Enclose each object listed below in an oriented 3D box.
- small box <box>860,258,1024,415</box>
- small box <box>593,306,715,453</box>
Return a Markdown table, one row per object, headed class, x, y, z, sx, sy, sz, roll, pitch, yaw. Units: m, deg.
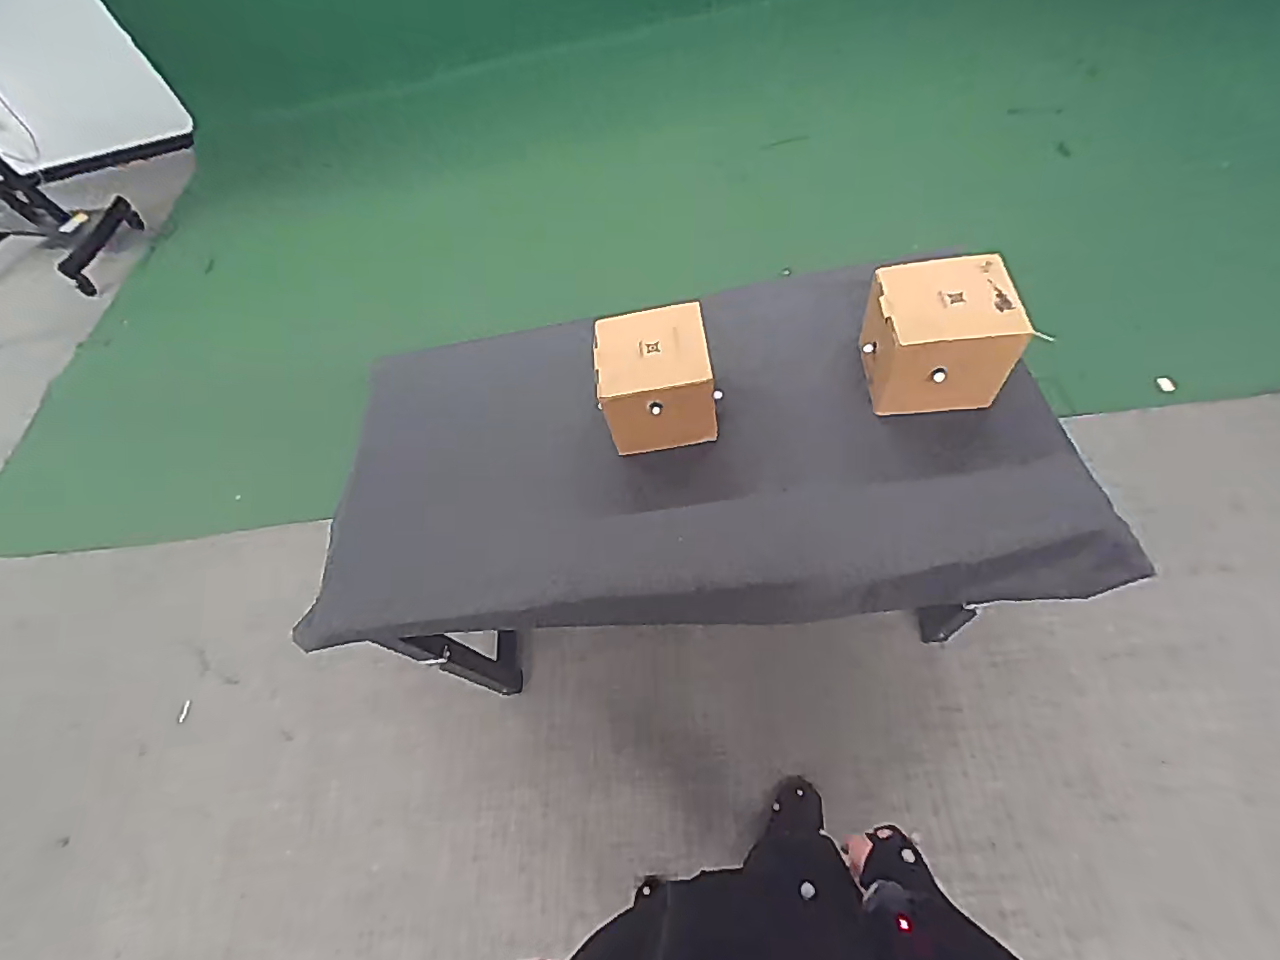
| class | x | y | z | sx | sy | sz | roll | pitch | yaw |
| --- | --- | --- | --- | --- | --- | --- | --- | --- | --- |
| small box | 0.455 | -0.217 | 0.853 | 0.179 | 0.176 | 0.168 | -4 | 60 | 10 |
| small box | 0.026 | -0.161 | 0.911 | 0.179 | 0.176 | 0.168 | -8 | 61 | 5 |
